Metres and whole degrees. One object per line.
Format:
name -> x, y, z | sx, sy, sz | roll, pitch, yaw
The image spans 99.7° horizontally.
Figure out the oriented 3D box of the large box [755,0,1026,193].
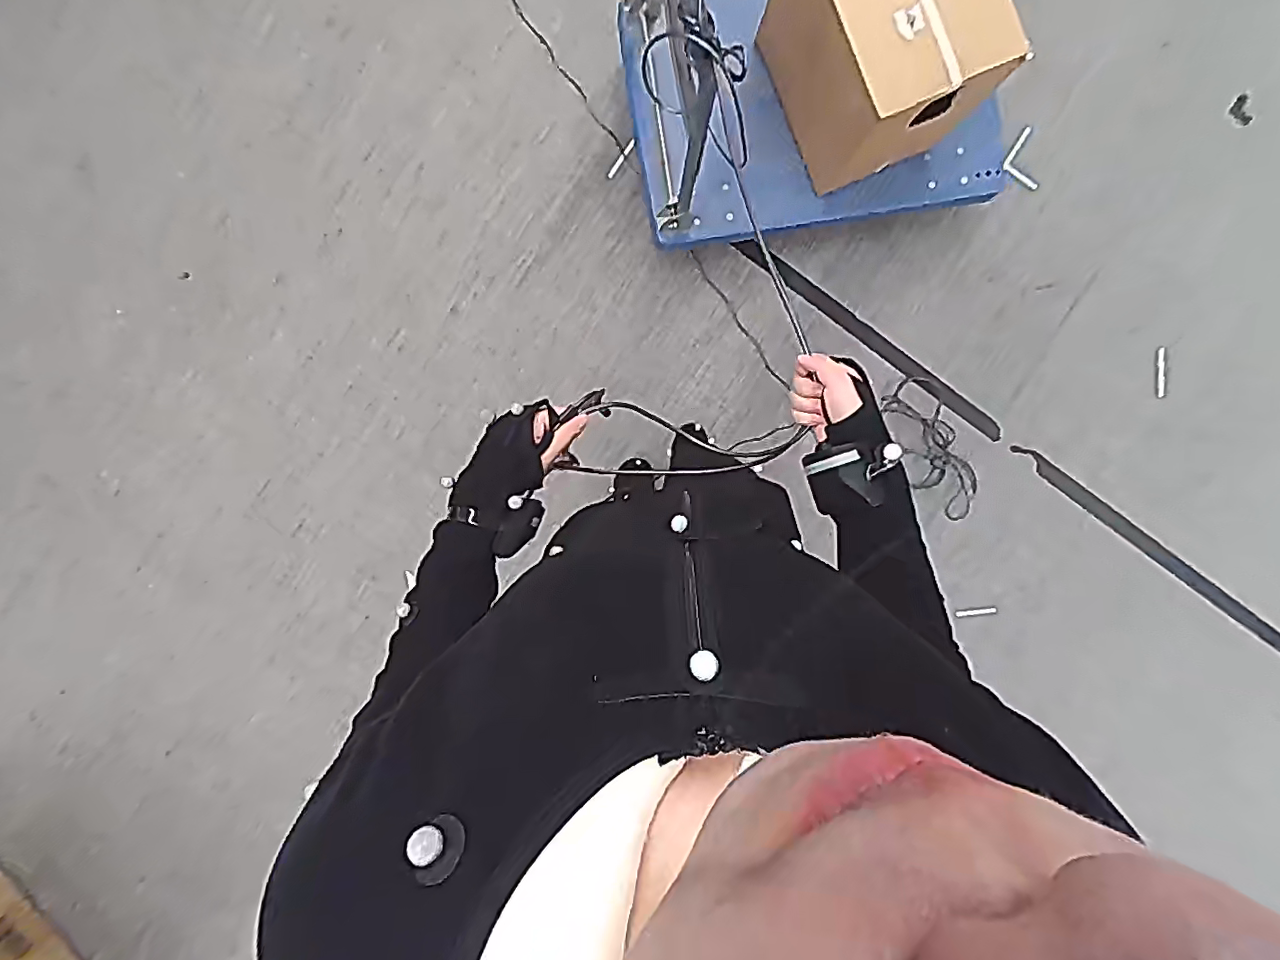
large box -> 0.489, -0.910, 1.129 | 0.320, 0.320, 0.408 | -24, 95, 0
